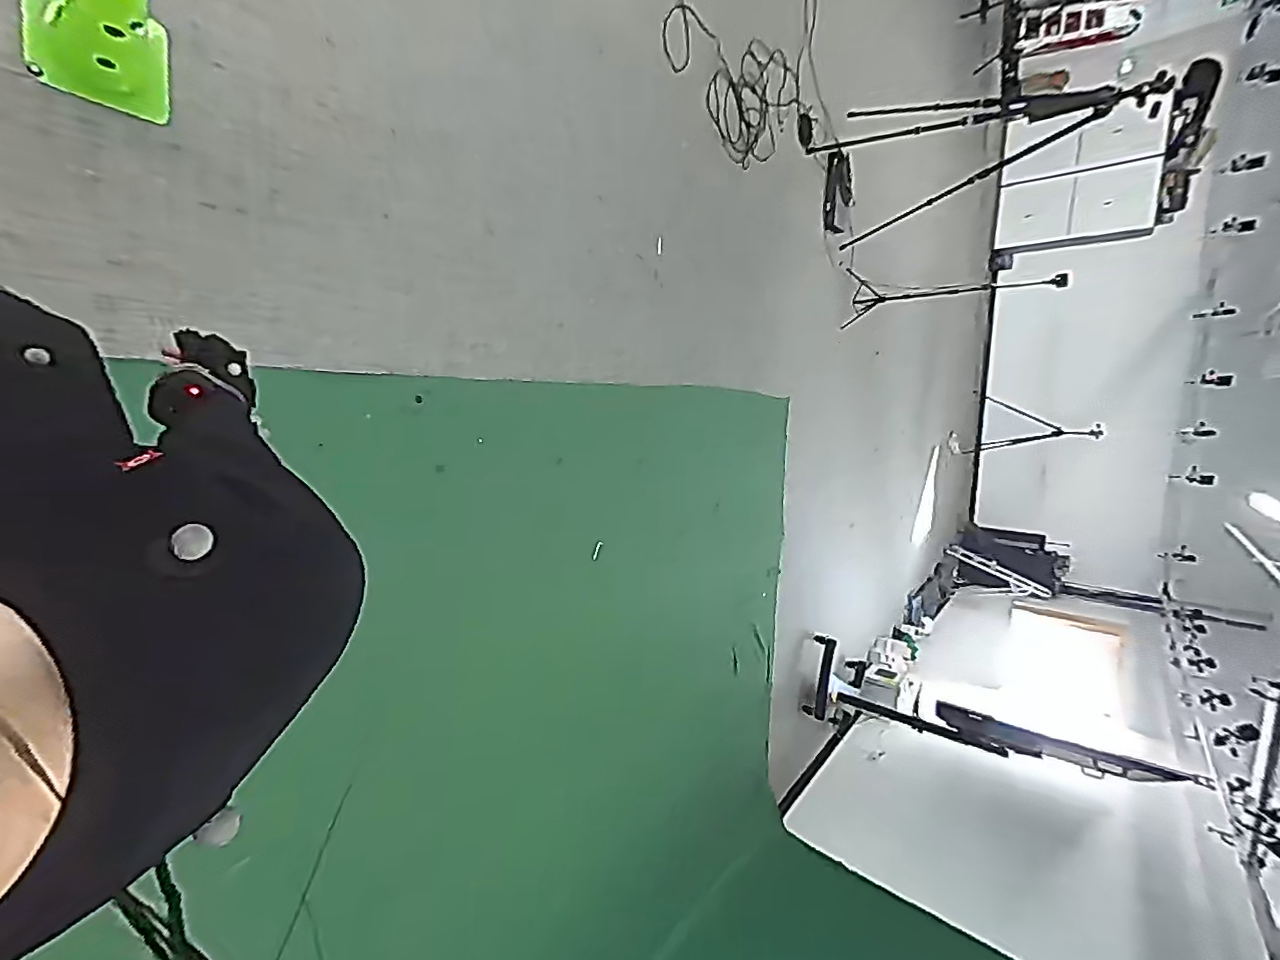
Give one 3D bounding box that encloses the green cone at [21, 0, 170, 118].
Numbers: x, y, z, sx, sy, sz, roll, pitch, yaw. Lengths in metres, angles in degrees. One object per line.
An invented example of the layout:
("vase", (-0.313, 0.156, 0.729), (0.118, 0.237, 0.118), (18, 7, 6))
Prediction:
("green cone", (-0.906, -0.821, 0.930), (0.200, 0.368, 0.202), (-5, 99, -50))
